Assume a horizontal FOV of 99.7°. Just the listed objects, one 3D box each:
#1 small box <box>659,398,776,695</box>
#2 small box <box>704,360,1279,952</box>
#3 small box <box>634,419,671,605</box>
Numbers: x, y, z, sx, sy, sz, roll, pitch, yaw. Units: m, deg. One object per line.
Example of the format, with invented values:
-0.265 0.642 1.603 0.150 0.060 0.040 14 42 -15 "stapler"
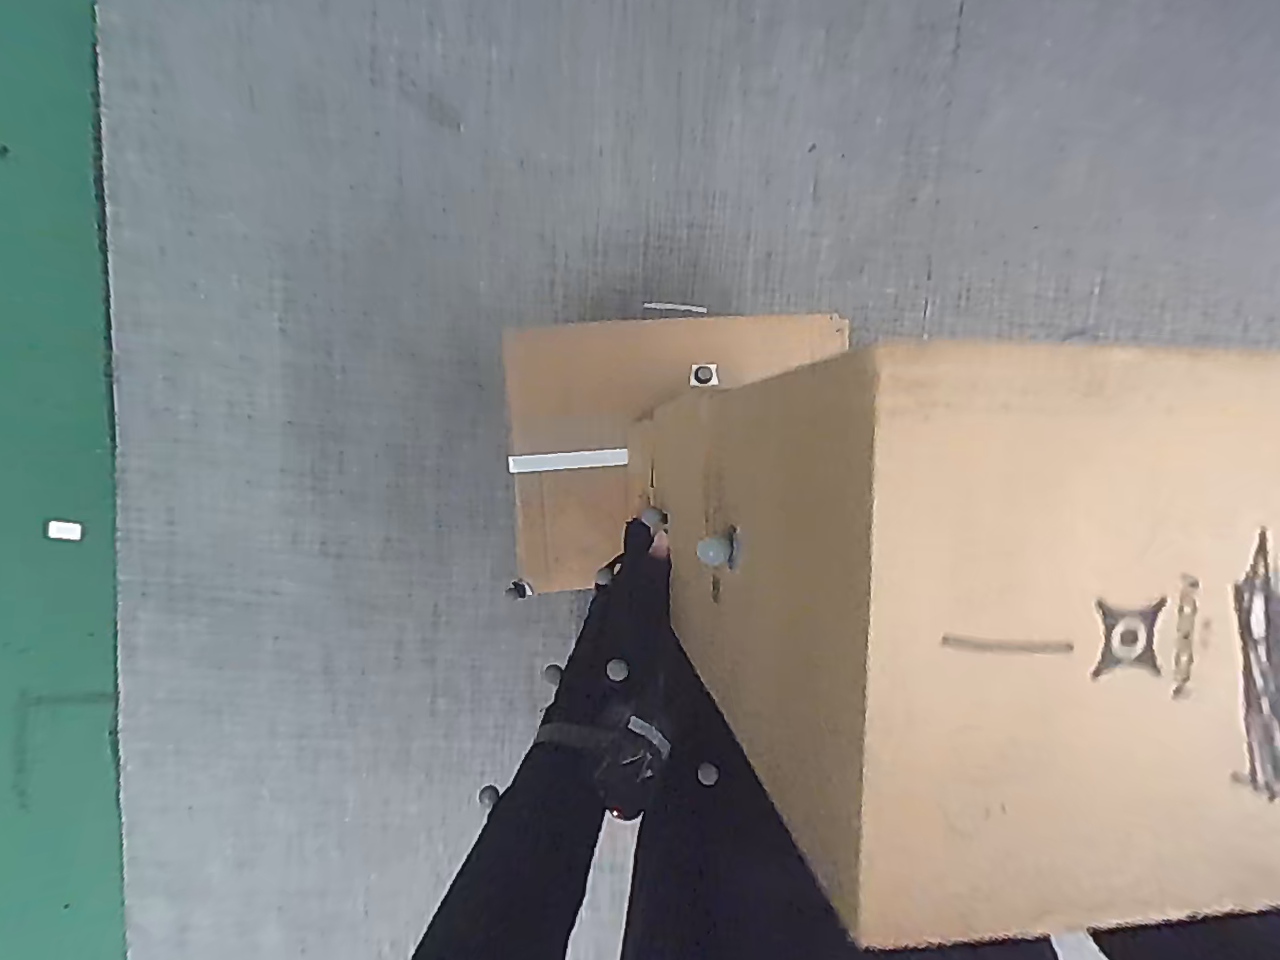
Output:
0.108 0.030 0.396 0.168 0.176 0.179 -3 96 -7 "small box"
0.135 0.045 0.234 0.179 0.176 0.168 1 94 -6 "small box"
0.086 0.023 0.557 0.179 0.176 0.168 -1 95 -8 "small box"
